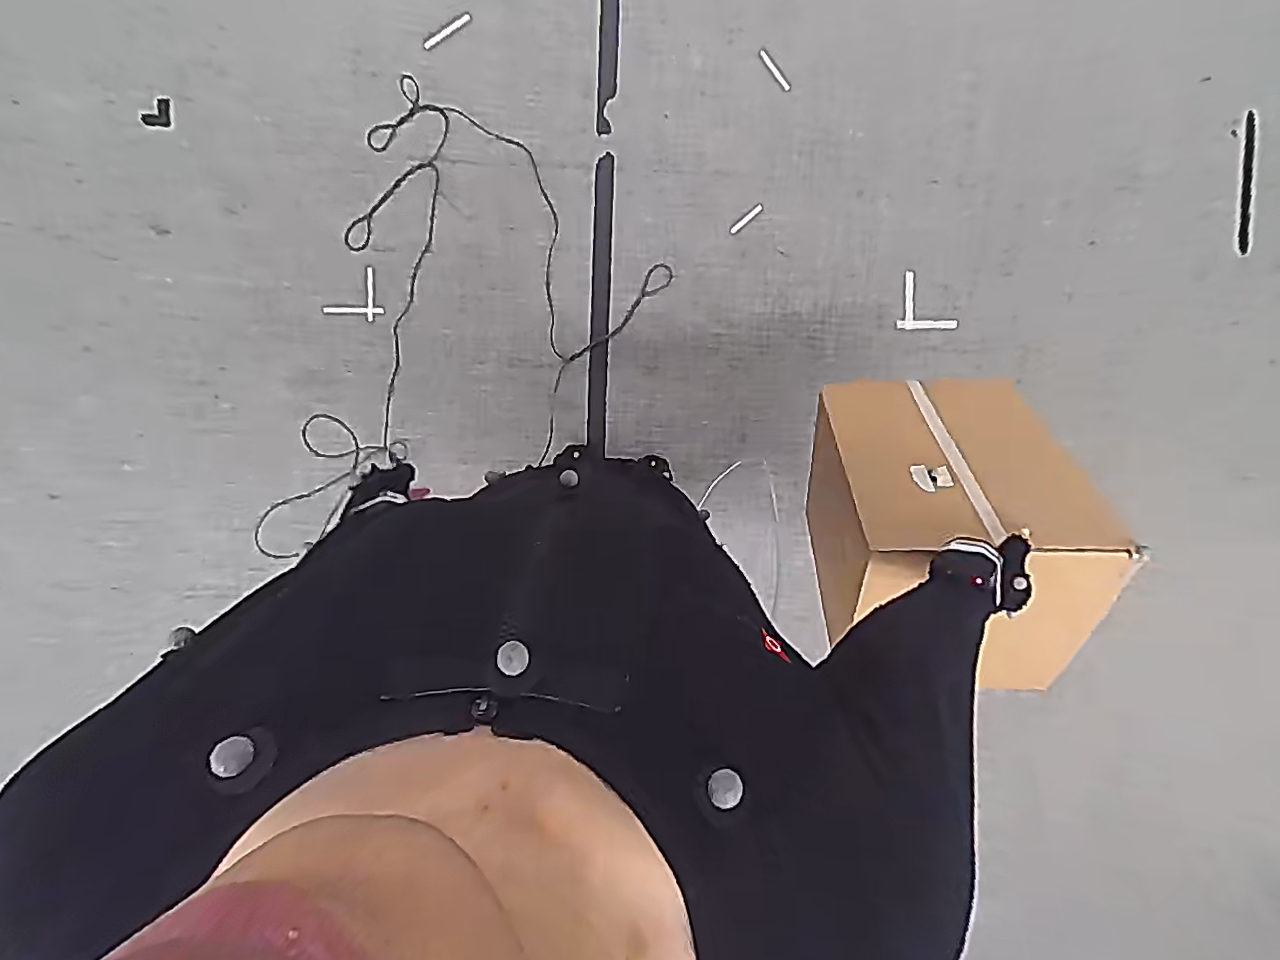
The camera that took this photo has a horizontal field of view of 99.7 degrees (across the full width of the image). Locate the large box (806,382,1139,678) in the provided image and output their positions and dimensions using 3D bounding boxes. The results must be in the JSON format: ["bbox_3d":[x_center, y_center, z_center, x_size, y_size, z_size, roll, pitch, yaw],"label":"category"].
[{"bbox_3d":[0.484,0.073,0.918,0.320,0.408,0.320,-2,131,8],"label":"large box"}]
